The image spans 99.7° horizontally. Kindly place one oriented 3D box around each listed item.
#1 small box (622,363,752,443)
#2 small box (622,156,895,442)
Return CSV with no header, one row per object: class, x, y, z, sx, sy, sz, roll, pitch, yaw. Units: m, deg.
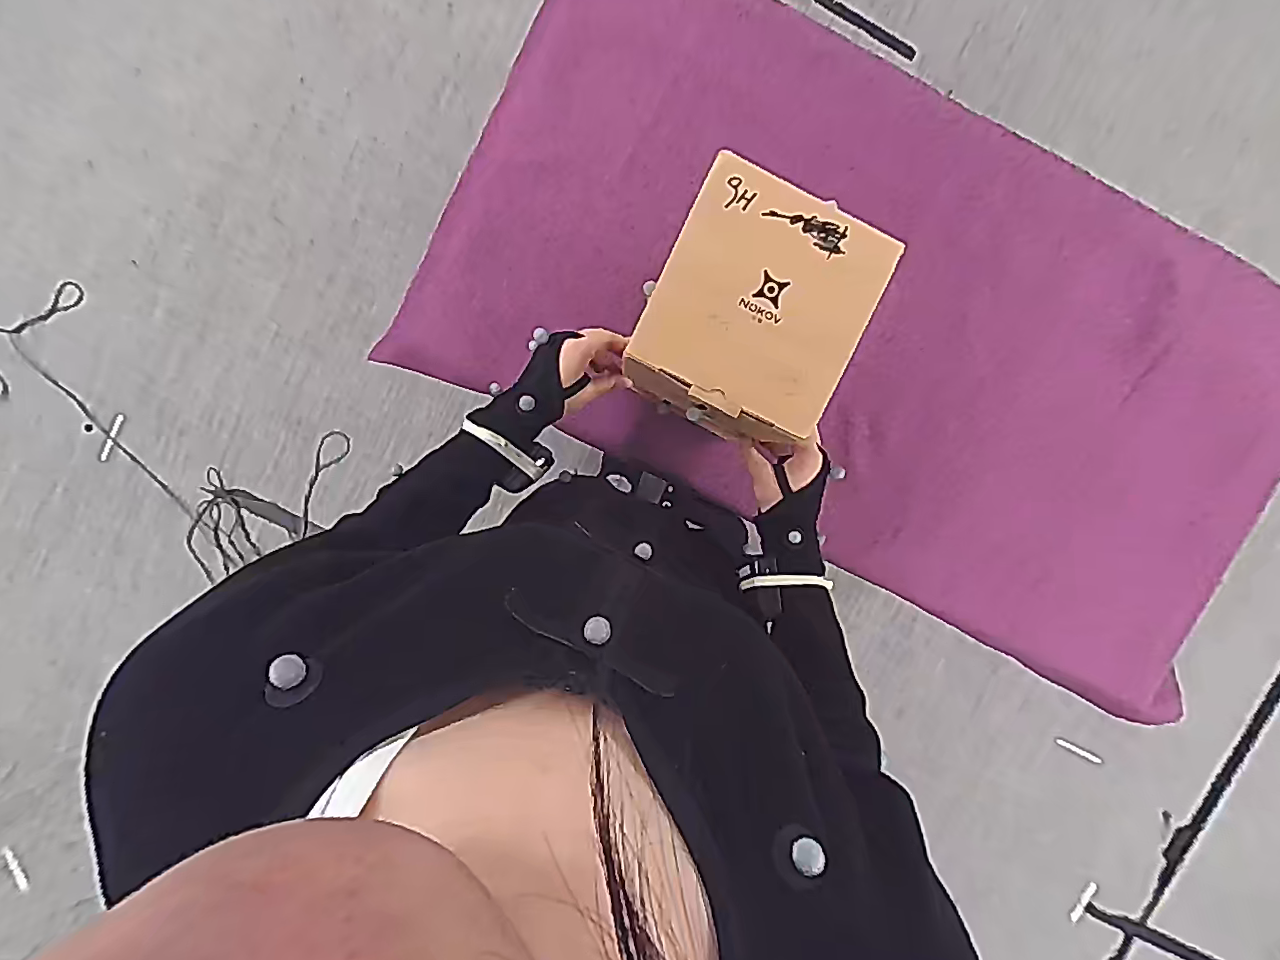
small box,0.090,-0.161,0.677,0.168,0.176,0.179,28,94,-4
small box,0.095,-0.150,0.513,0.168,0.176,0.179,26,94,-4
